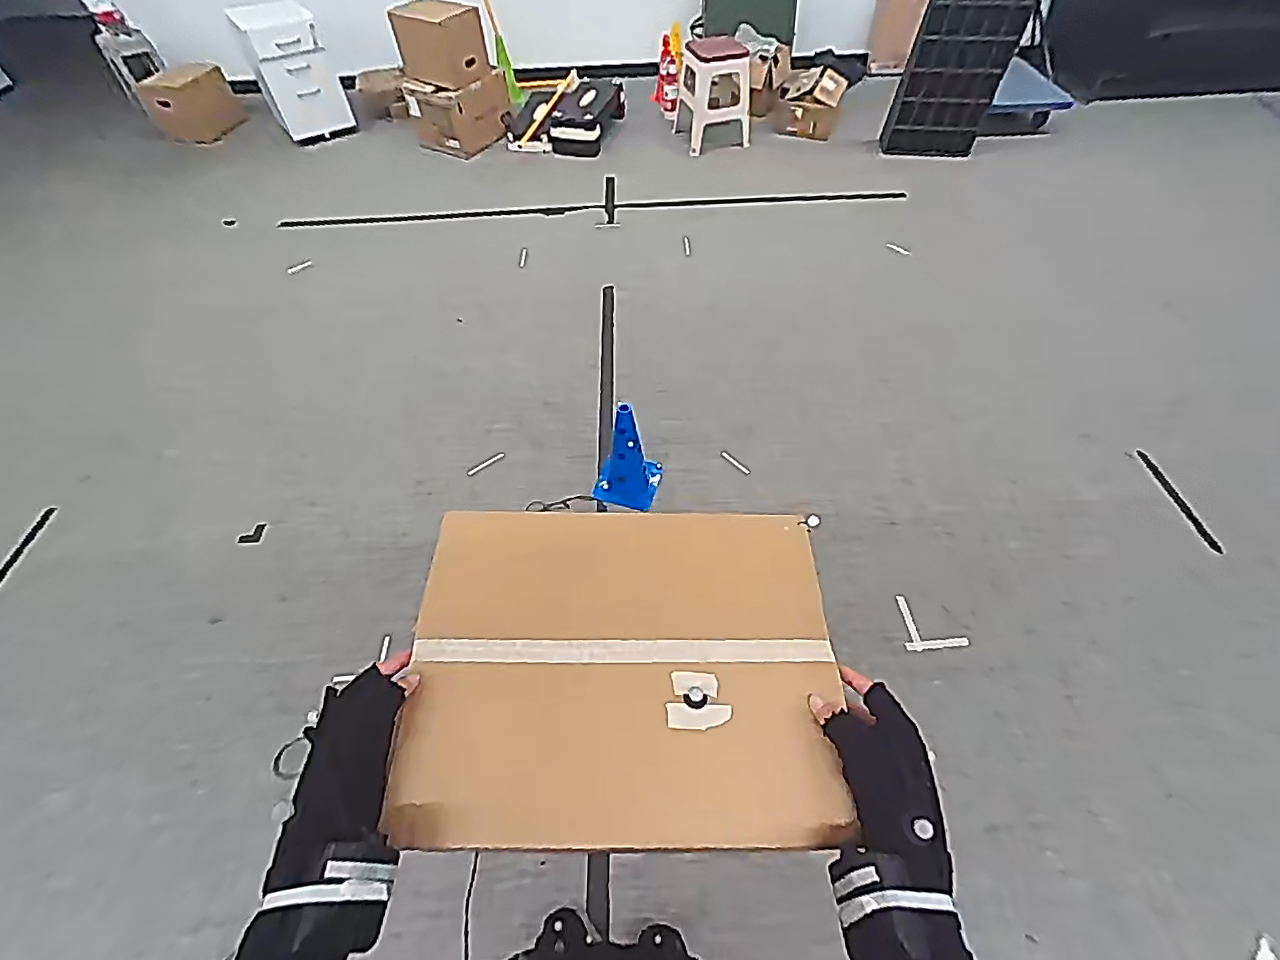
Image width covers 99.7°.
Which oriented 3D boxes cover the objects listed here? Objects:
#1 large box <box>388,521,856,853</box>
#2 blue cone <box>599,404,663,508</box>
[{"bbox_3d":[-0.018,0.260,0.657,0.408,0.320,0.320,1,55,-1],"label":"large box"},{"bbox_3d":[-0.034,-0.089,1.704,0.193,0.380,0.192,15,55,12],"label":"blue cone"}]
